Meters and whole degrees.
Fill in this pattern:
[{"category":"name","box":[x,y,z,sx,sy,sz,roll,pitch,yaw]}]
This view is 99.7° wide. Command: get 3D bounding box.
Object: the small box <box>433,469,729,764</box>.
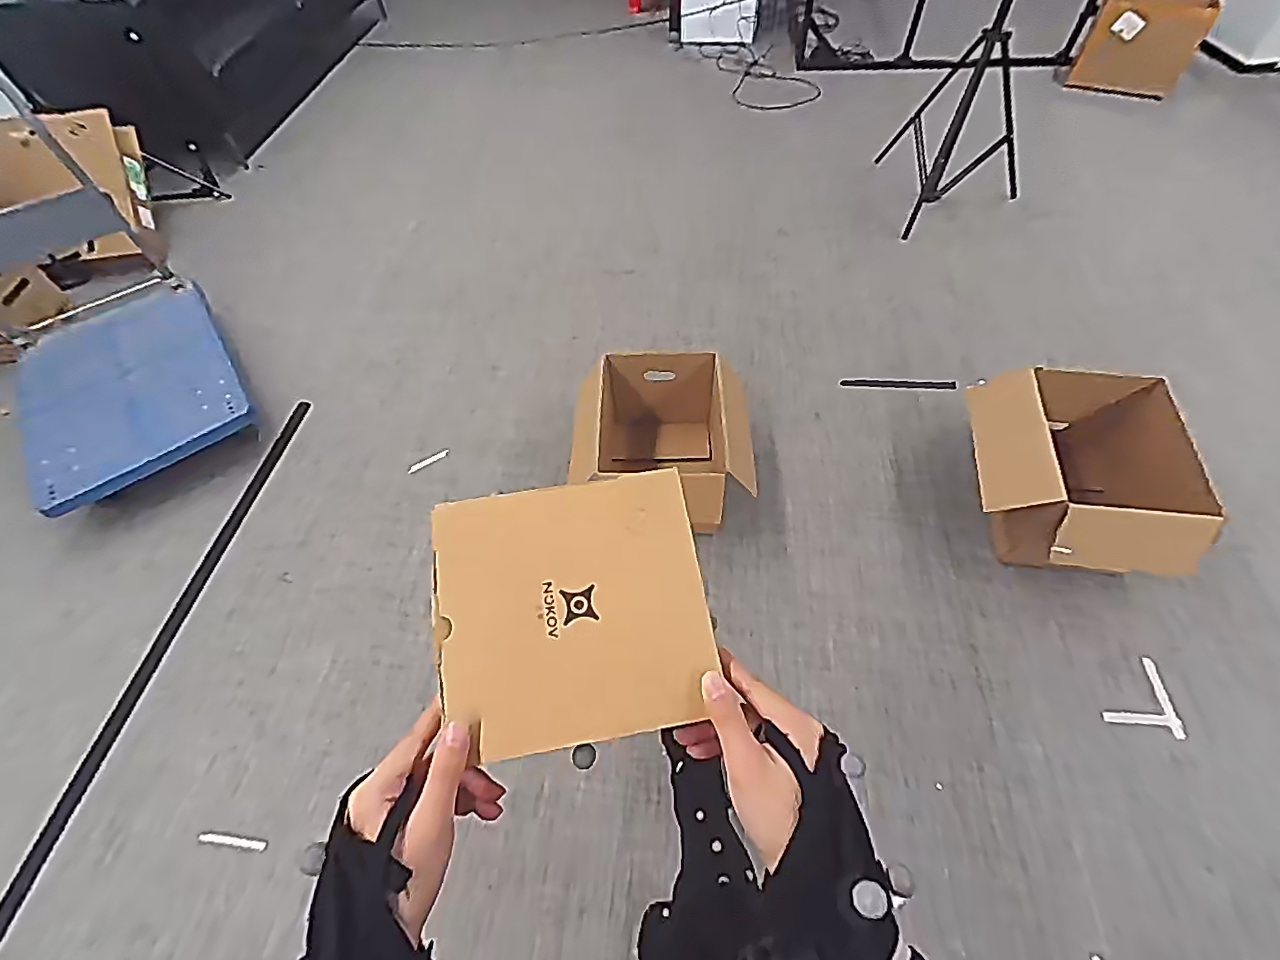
[{"category":"small box","box":[-0.044,0.106,0.425,0.179,0.176,0.168,-10,70,-4]}]
